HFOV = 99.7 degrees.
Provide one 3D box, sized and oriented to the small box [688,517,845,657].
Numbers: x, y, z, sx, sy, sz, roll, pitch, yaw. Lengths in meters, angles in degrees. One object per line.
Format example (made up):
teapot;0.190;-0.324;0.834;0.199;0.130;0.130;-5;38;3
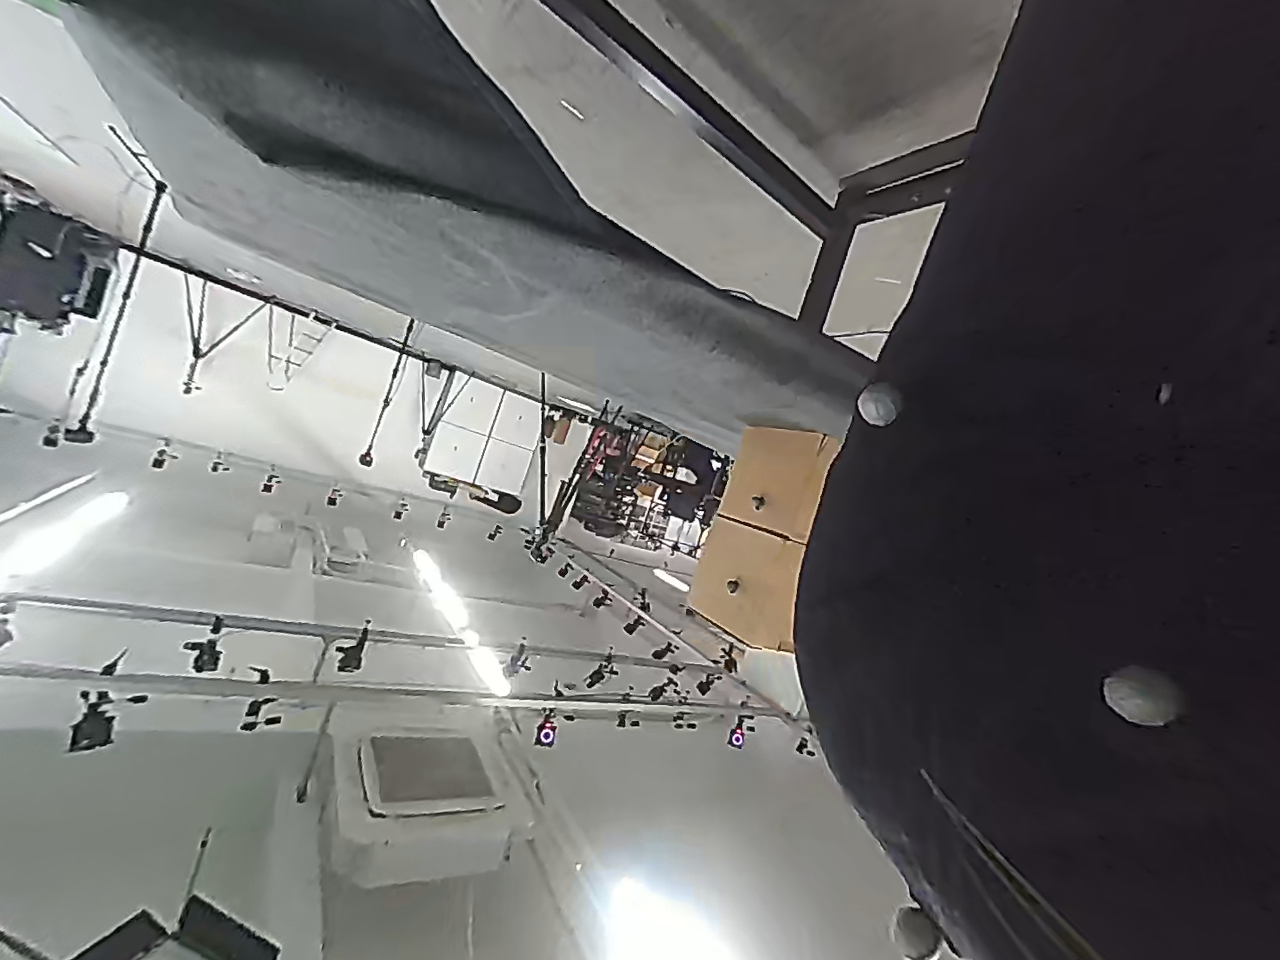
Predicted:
small box;0.211;0.167;0.884;0.168;0.176;0.179;19;178;-29

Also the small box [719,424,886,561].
small box;0.266;0.013;0.891;0.168;0.176;0.179;19;179;-30
